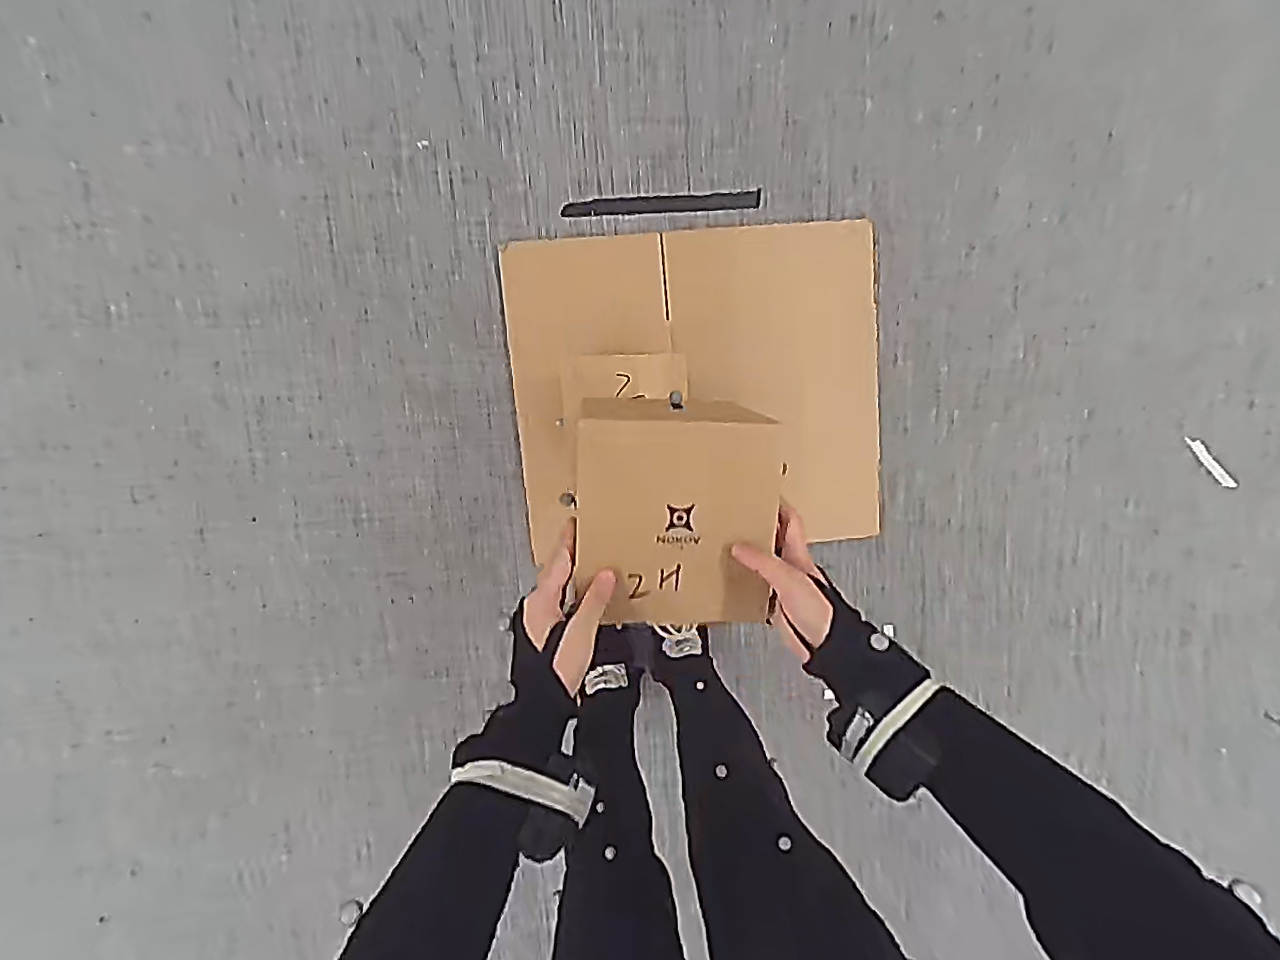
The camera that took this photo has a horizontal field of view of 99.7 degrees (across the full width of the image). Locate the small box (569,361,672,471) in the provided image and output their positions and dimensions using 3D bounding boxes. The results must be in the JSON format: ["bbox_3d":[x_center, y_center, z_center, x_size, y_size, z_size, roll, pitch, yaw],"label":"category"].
[{"bbox_3d":[-0.036,-0.113,0.942,0.168,0.176,0.179,-1,98,-5],"label":"small box"}]

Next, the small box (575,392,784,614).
[{"bbox_3d":[0.023,0.010,0.517,0.168,0.176,0.179,1,104,-5],"label":"small box"}]
